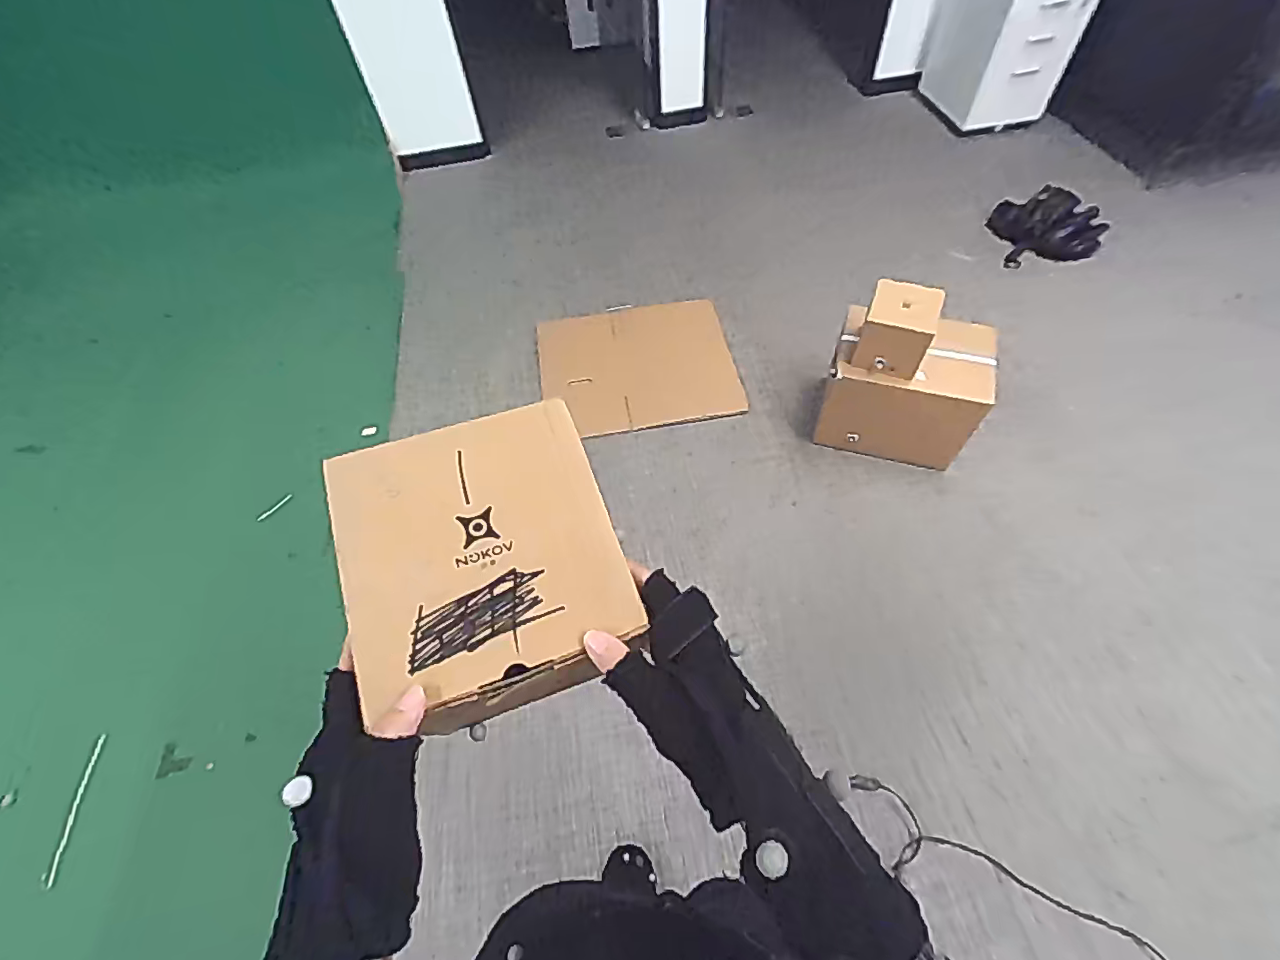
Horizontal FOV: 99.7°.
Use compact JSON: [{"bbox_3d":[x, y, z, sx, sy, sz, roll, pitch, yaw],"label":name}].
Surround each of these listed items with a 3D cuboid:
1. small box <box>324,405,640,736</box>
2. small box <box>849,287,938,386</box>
[{"bbox_3d":[-0.109,0.076,0.421,0.168,0.176,0.179,-20,68,-13],"label":"small box"},{"bbox_3d":[0.677,-0.384,1.455,0.168,0.176,0.179,16,61,16],"label":"small box"}]
